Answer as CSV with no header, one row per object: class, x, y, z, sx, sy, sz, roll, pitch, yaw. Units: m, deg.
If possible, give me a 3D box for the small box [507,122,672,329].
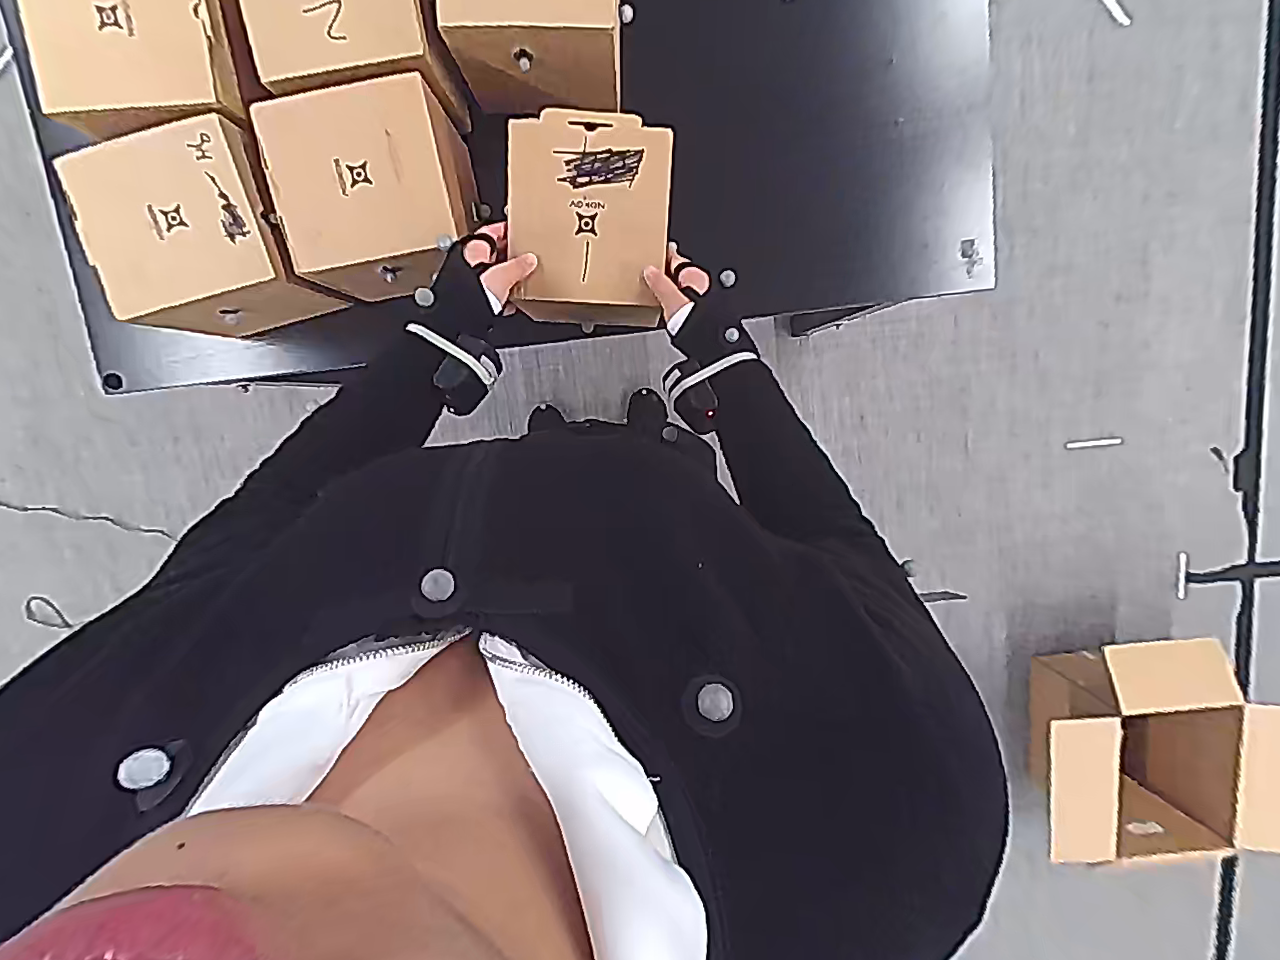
small box,-0.056,-0.285,0.642,0.168,0.176,0.179,3,99,-1
